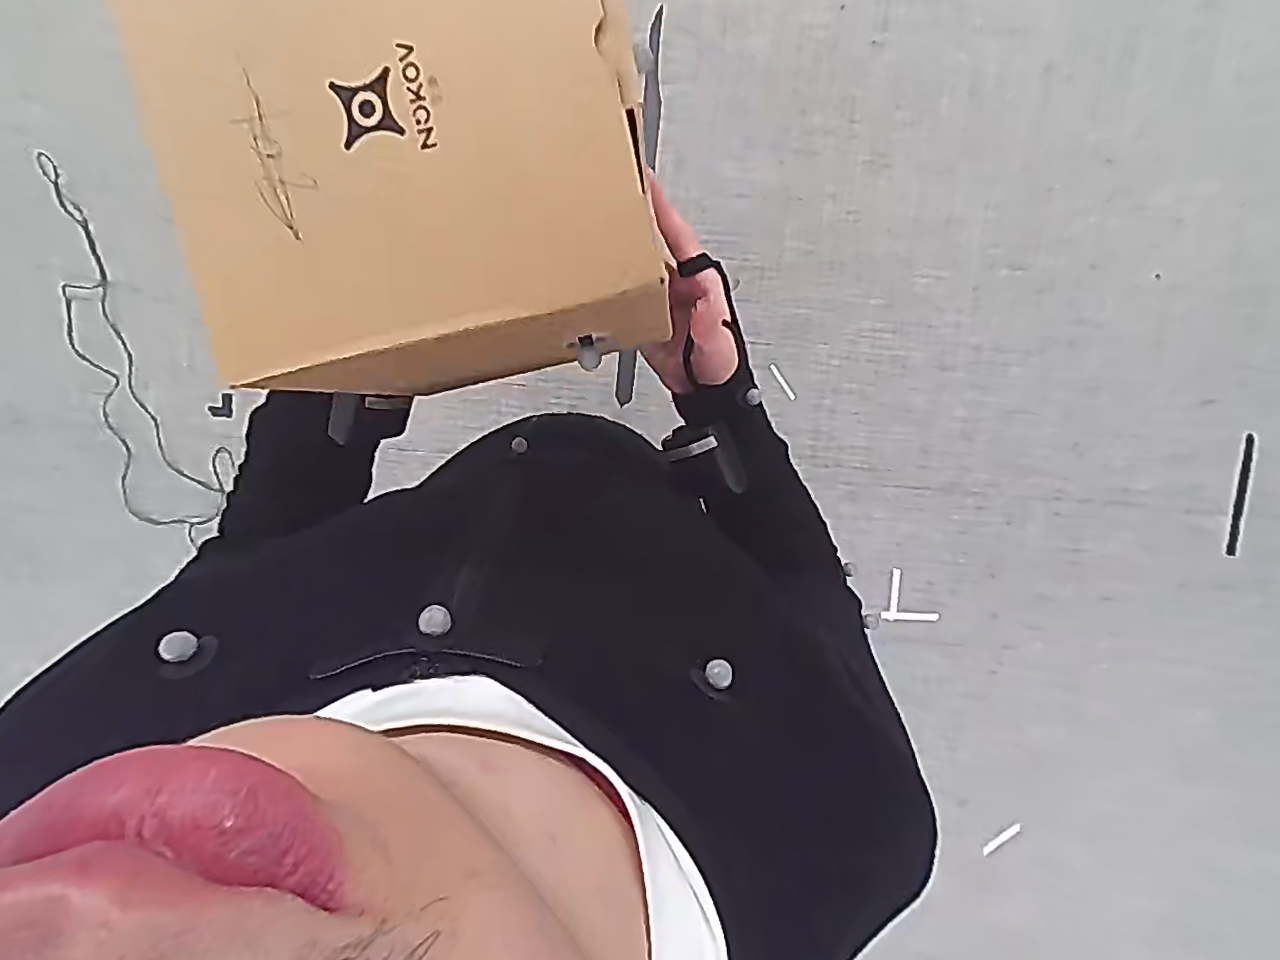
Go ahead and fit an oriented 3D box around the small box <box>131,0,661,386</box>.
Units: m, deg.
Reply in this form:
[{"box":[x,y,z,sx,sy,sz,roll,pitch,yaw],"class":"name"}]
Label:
[{"box":[-0.089,-0.149,0.283,0.179,0.176,0.168,-12,96,5],"class":"small box"}]
